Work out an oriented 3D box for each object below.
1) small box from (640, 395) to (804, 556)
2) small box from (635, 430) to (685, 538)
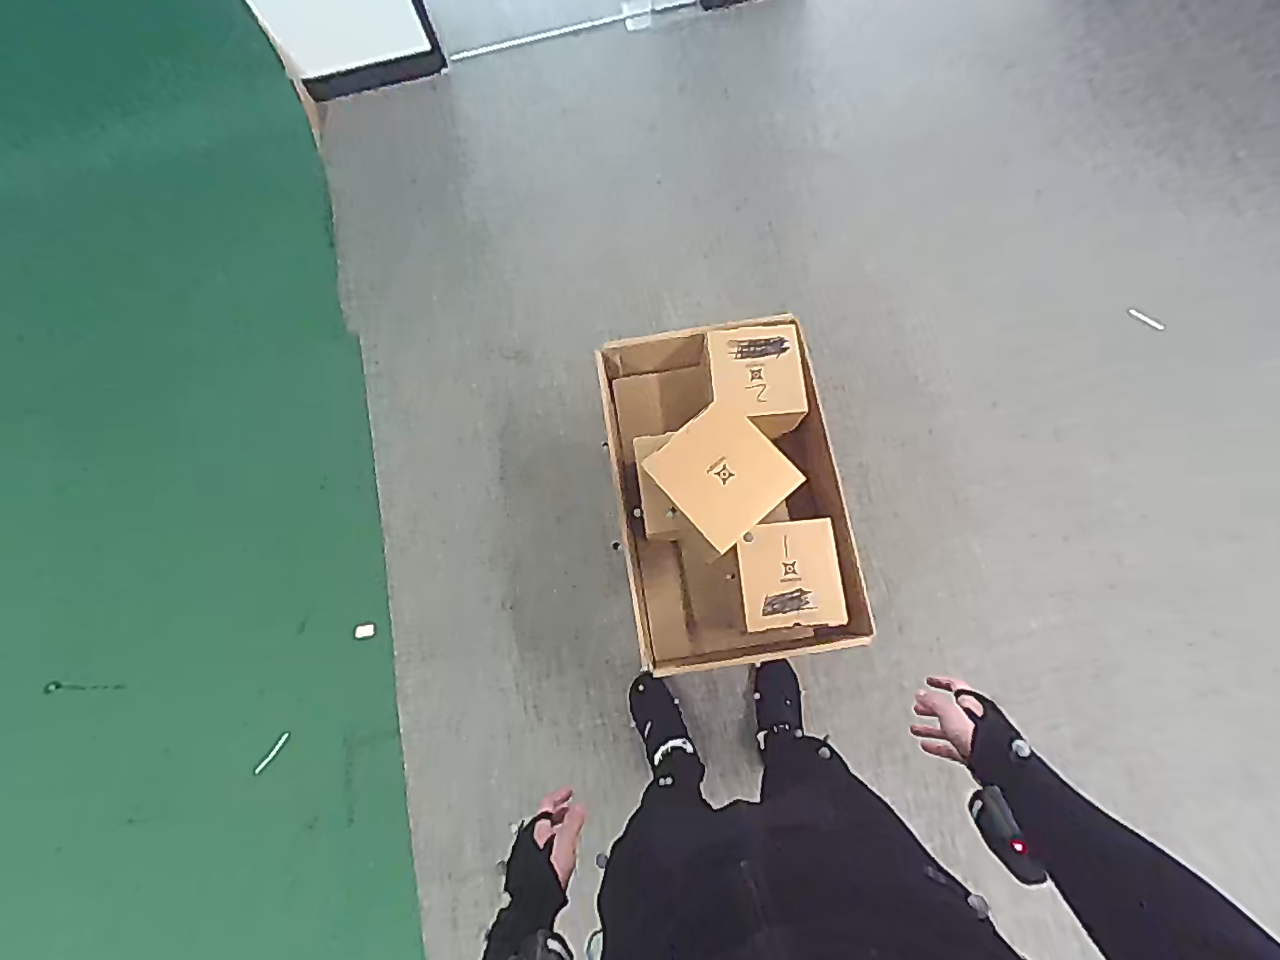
[{"bbox_3d":[0.120,0.004,0.841,0.168,0.176,0.179,-41,78,-7],"label":"small box"},{"bbox_3d":[0.086,0.011,1.007,0.168,0.176,0.179,-8,78,0],"label":"small box"}]
